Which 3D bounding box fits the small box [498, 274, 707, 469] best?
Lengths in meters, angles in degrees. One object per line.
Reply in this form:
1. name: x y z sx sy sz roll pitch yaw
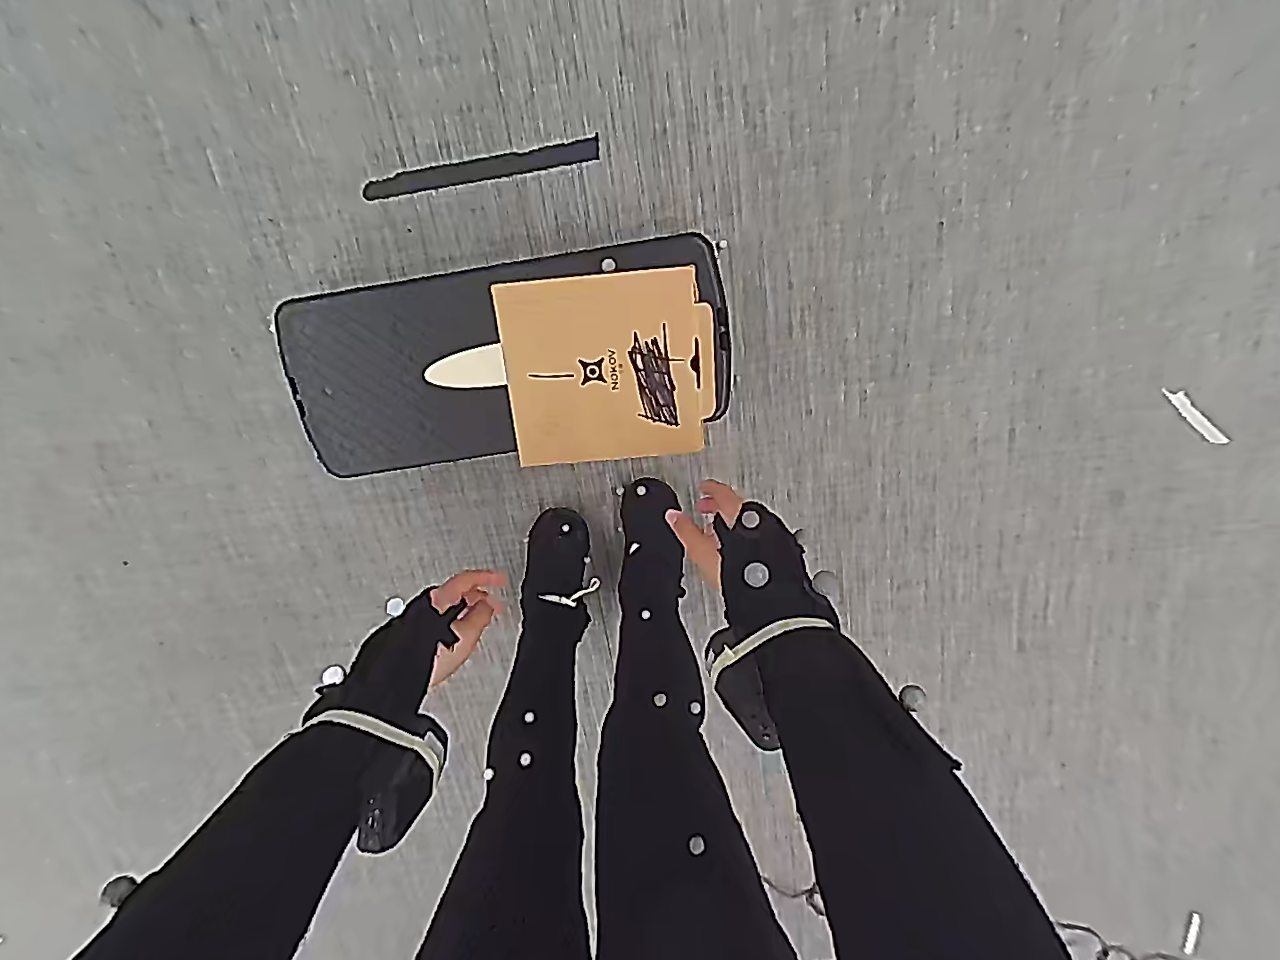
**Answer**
1. small box: -0.031 -0.118 0.558 0.179 0.176 0.168 -5 107 1
